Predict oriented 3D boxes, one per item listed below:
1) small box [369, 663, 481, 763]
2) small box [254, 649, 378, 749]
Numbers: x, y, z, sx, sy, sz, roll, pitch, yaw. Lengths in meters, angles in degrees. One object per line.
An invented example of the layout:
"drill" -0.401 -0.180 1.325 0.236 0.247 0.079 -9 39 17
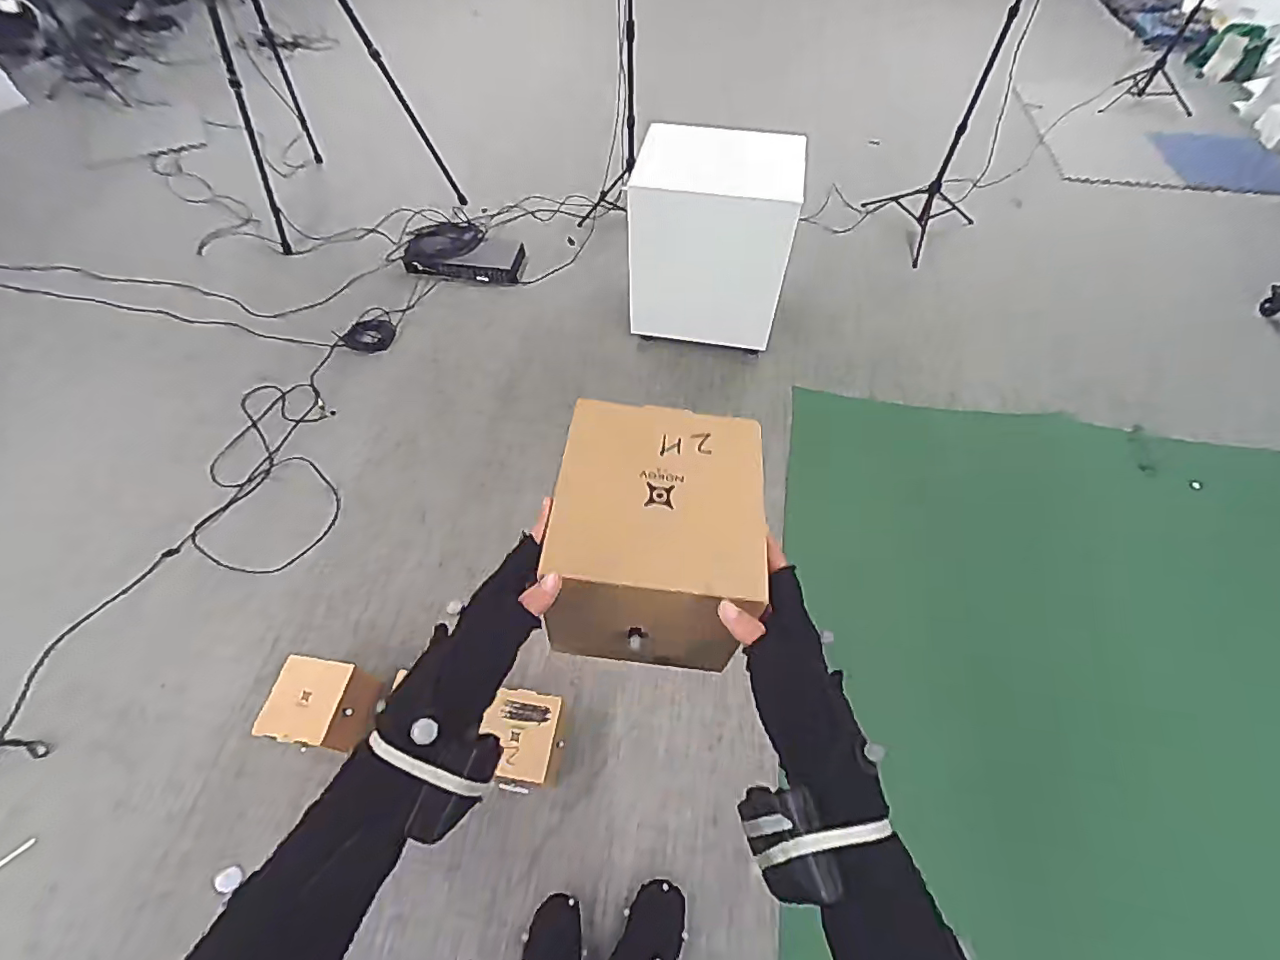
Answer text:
"small box" -0.491 0.551 1.267 0.168 0.176 0.179 6 56 5
"small box" -0.755 0.524 1.289 0.168 0.176 0.179 7 57 5
